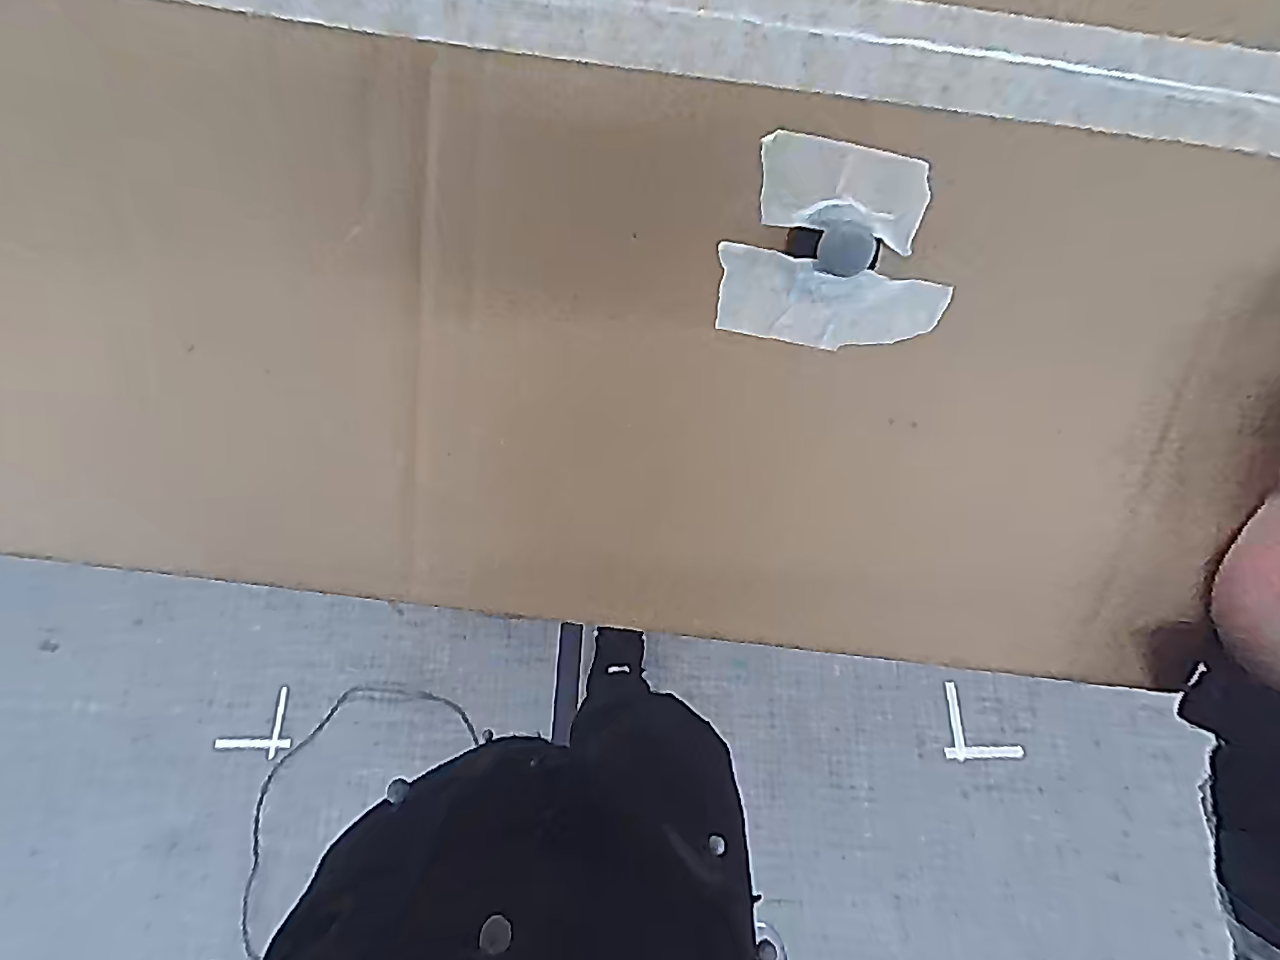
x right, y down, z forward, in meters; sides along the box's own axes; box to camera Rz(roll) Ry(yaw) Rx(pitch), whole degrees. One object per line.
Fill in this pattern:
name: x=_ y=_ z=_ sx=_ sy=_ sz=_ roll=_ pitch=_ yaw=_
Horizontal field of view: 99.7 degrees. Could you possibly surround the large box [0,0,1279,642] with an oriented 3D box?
large box: x=-0.009 y=-0.145 z=0.287 sx=0.408 sy=0.320 sz=0.320 roll=7 pitch=104 yaw=-3
